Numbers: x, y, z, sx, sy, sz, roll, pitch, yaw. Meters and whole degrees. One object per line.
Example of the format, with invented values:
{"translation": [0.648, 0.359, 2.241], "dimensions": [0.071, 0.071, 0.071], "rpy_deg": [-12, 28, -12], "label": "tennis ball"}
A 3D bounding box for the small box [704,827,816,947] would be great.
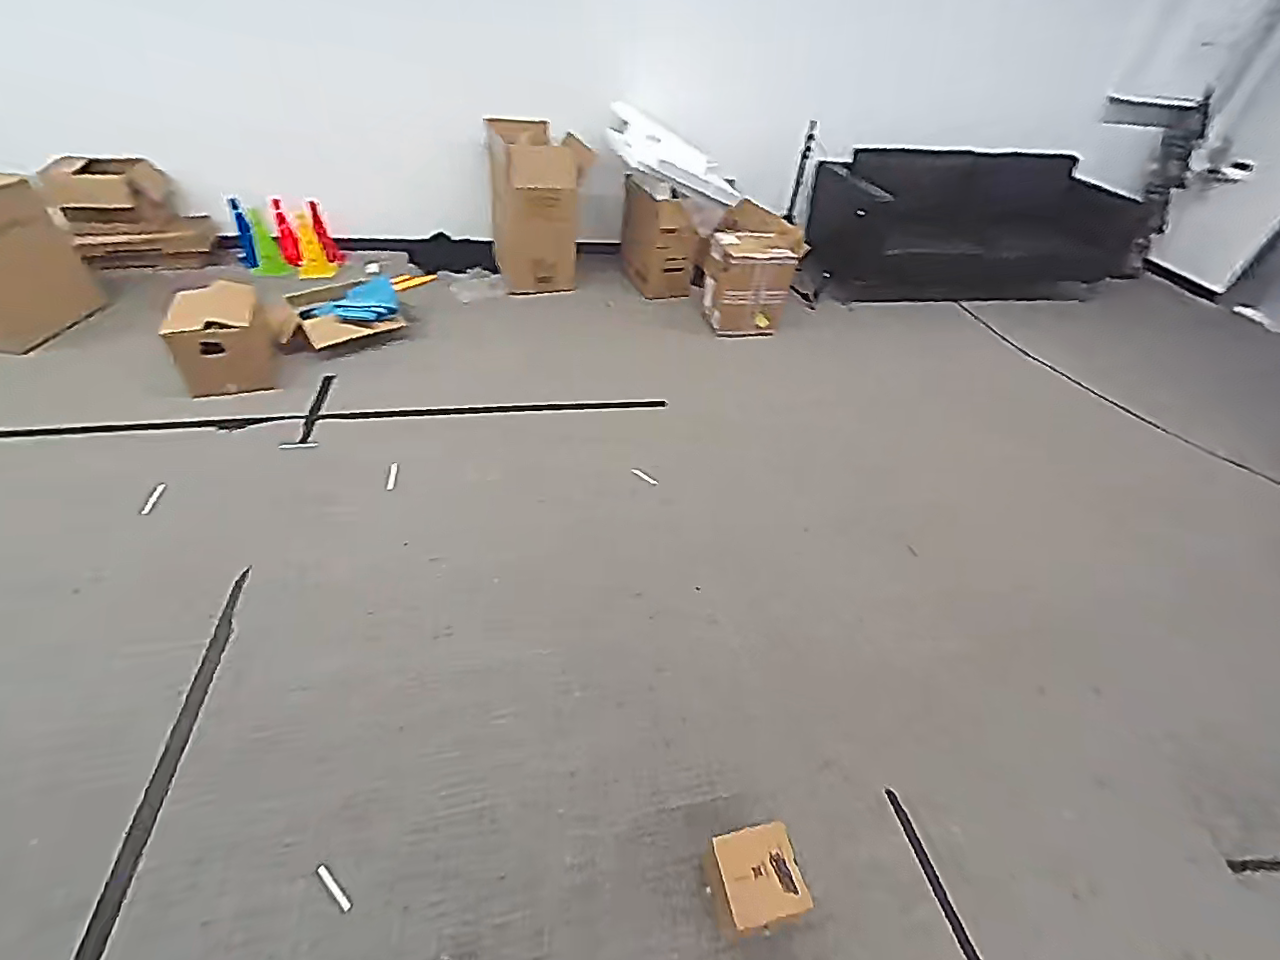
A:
{"translation": [0.257, 0.905, 1.203], "dimensions": [0.179, 0.176, 0.168], "rpy_deg": [-6, 43, -12], "label": "small box"}
